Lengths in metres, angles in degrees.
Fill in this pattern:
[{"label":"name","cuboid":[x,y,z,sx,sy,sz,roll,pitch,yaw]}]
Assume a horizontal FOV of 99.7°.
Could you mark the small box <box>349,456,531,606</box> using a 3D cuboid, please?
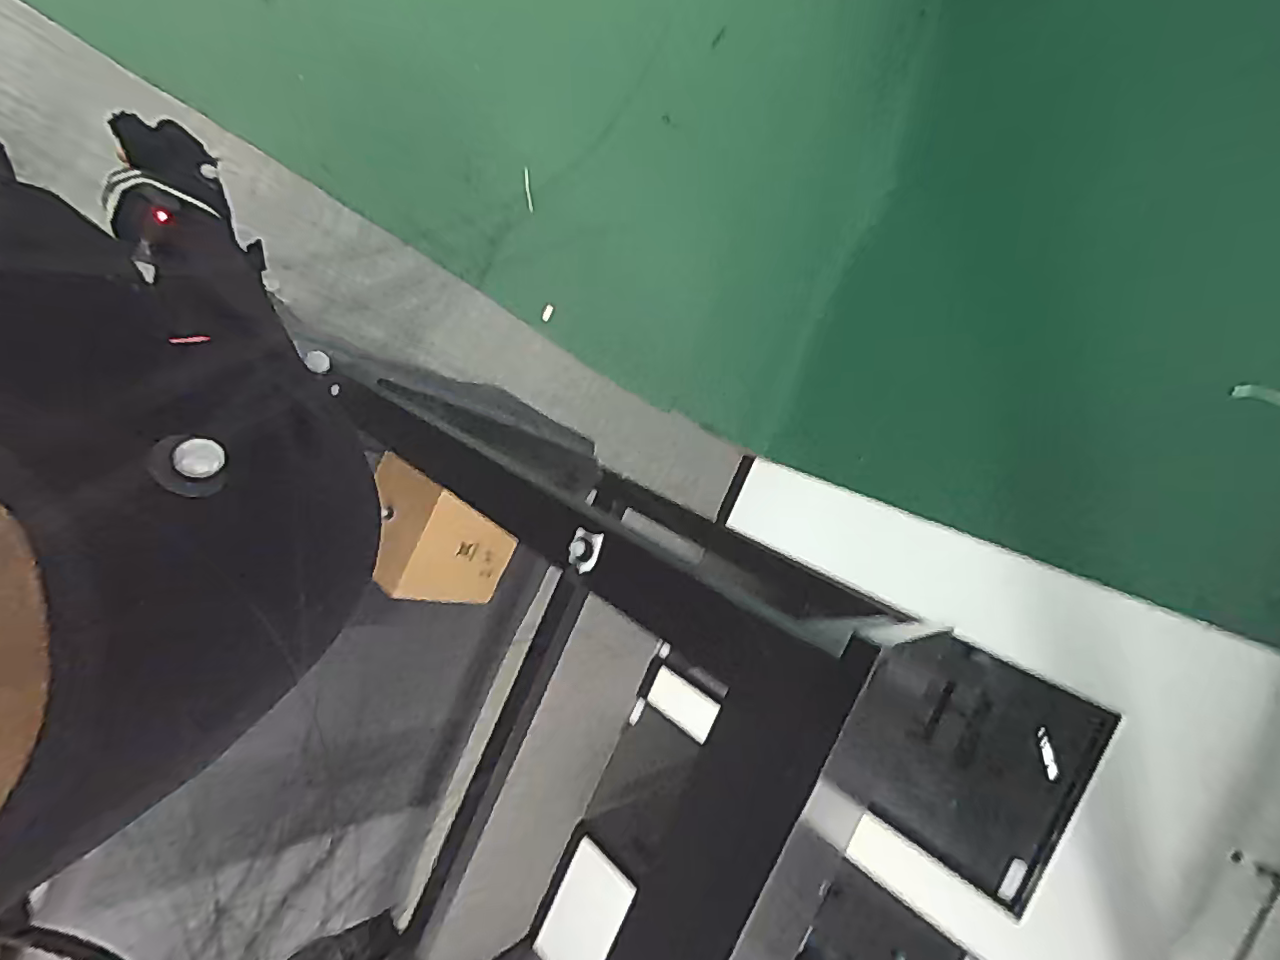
[{"label":"small box","cuboid":[-0.311,0.077,0.837,0.179,0.176,0.168,25,92,-56]}]
